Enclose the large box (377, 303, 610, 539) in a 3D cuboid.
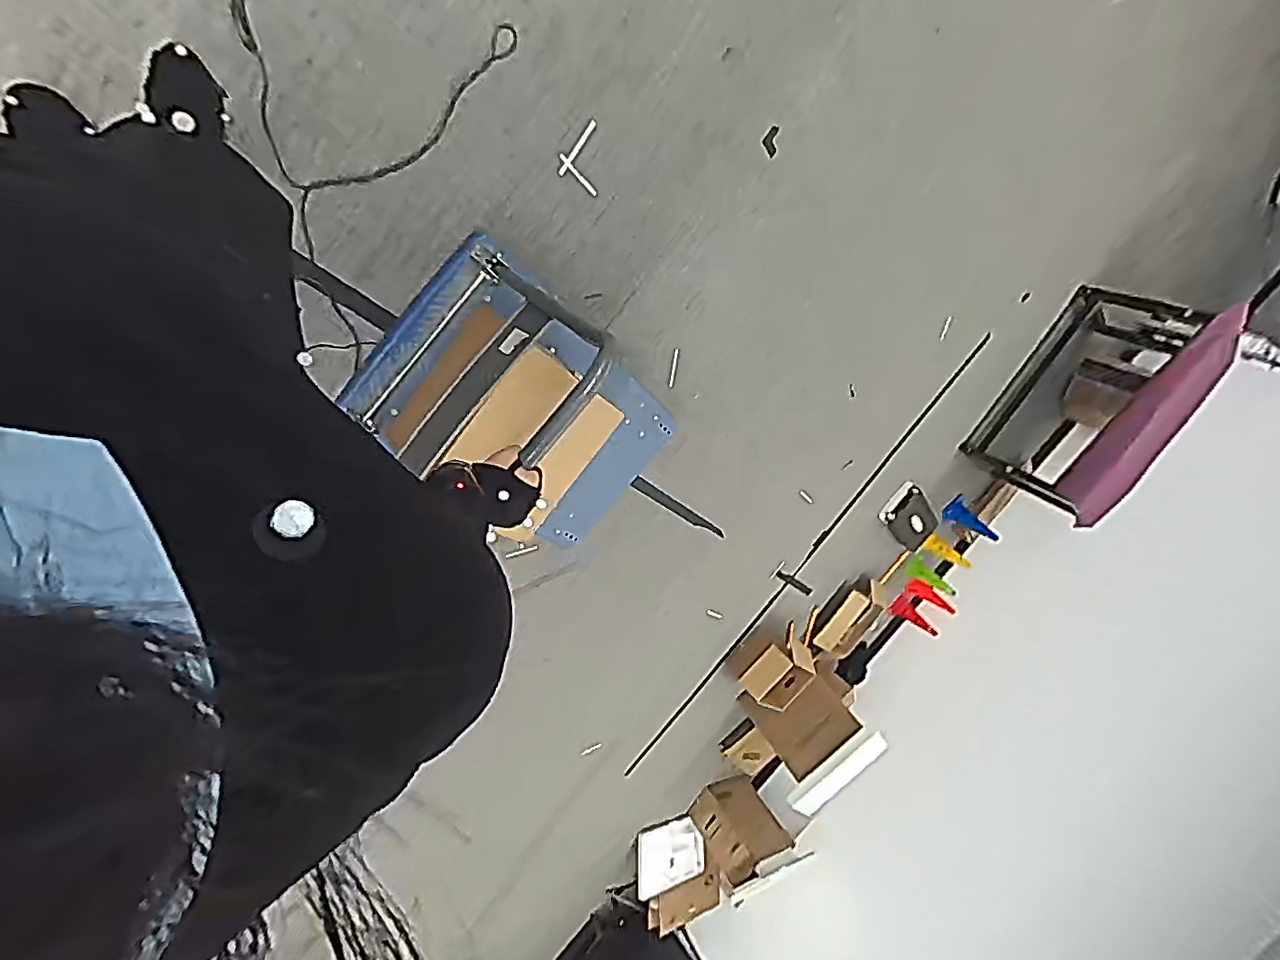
[{"bbox_3d":[-0.355,-0.139,1.296,0.408,0.320,0.320,-51,136,6],"label":"large box"}]
